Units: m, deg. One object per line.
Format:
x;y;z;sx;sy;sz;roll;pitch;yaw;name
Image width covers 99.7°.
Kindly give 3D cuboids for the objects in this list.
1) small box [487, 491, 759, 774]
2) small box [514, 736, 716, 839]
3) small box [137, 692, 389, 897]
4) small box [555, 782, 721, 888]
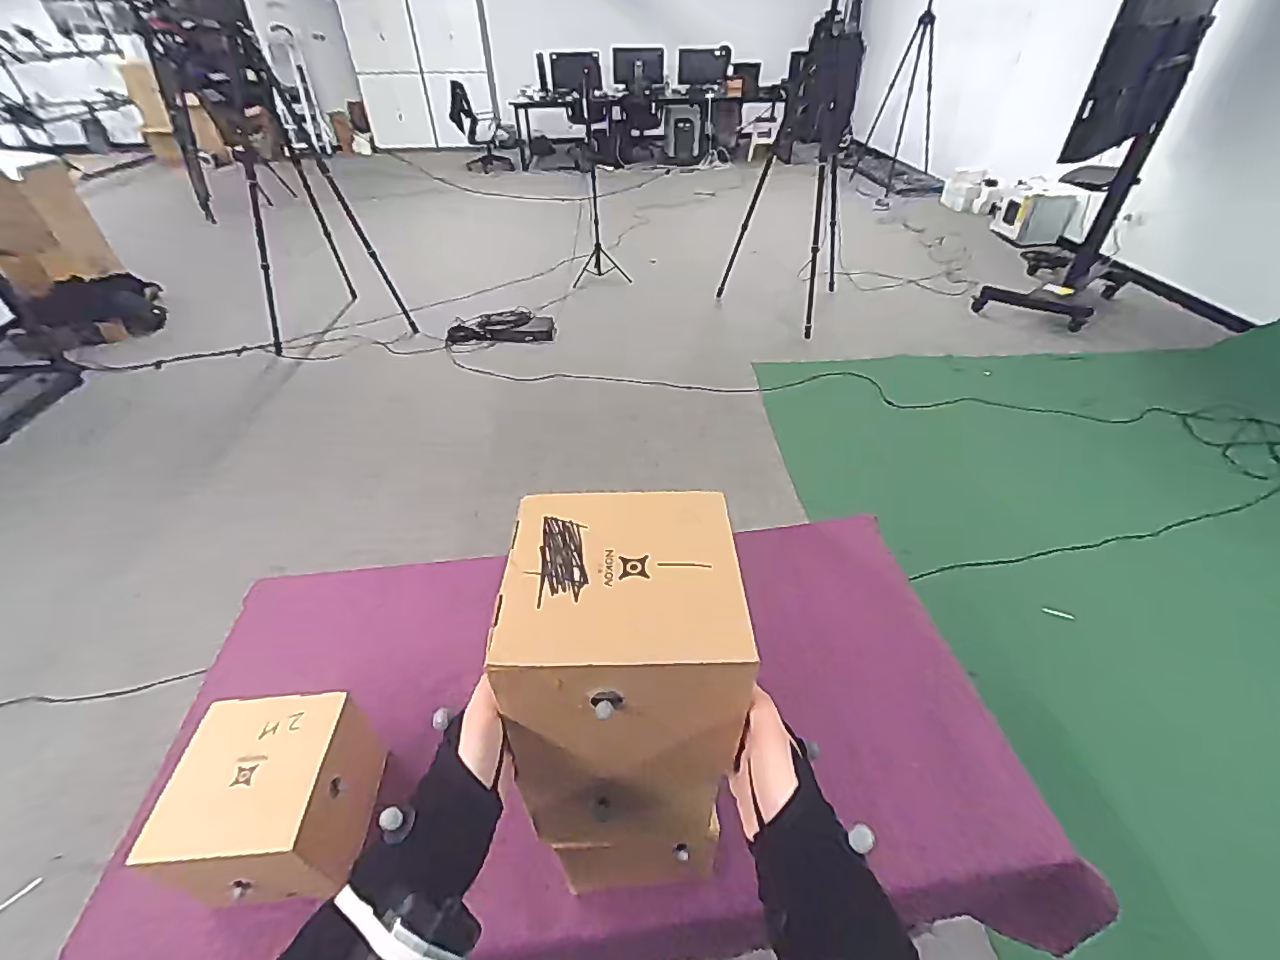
-0.010;0.126;0.449;0.179;0.176;0.168;-1;40;-1;small box
-0.016;0.251;0.557;0.179;0.176;0.168;-2;40;0;small box
-0.432;0.387;0.663;0.168;0.176;0.179;-3;41;-2;small box
-0.004;0.376;0.664;0.179;0.176;0.168;-4;41;-3;small box
